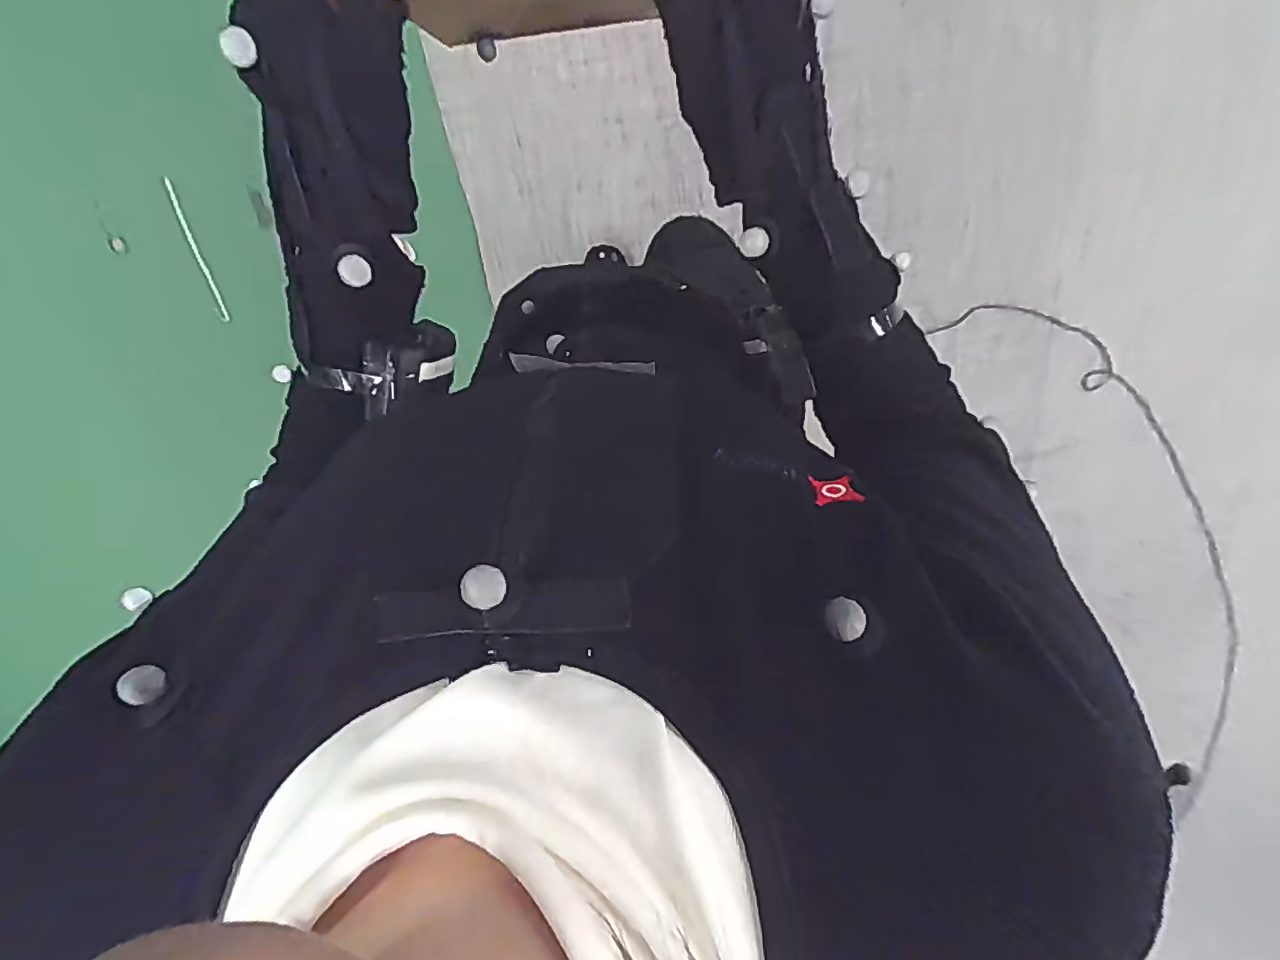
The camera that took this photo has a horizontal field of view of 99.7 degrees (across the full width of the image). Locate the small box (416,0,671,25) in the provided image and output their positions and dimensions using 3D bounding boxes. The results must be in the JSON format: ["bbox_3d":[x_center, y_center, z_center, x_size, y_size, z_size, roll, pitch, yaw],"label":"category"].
[{"bbox_3d":[-0.057,-0.342,0.252,0.168,0.176,0.179,-6,119,1],"label":"small box"}]
